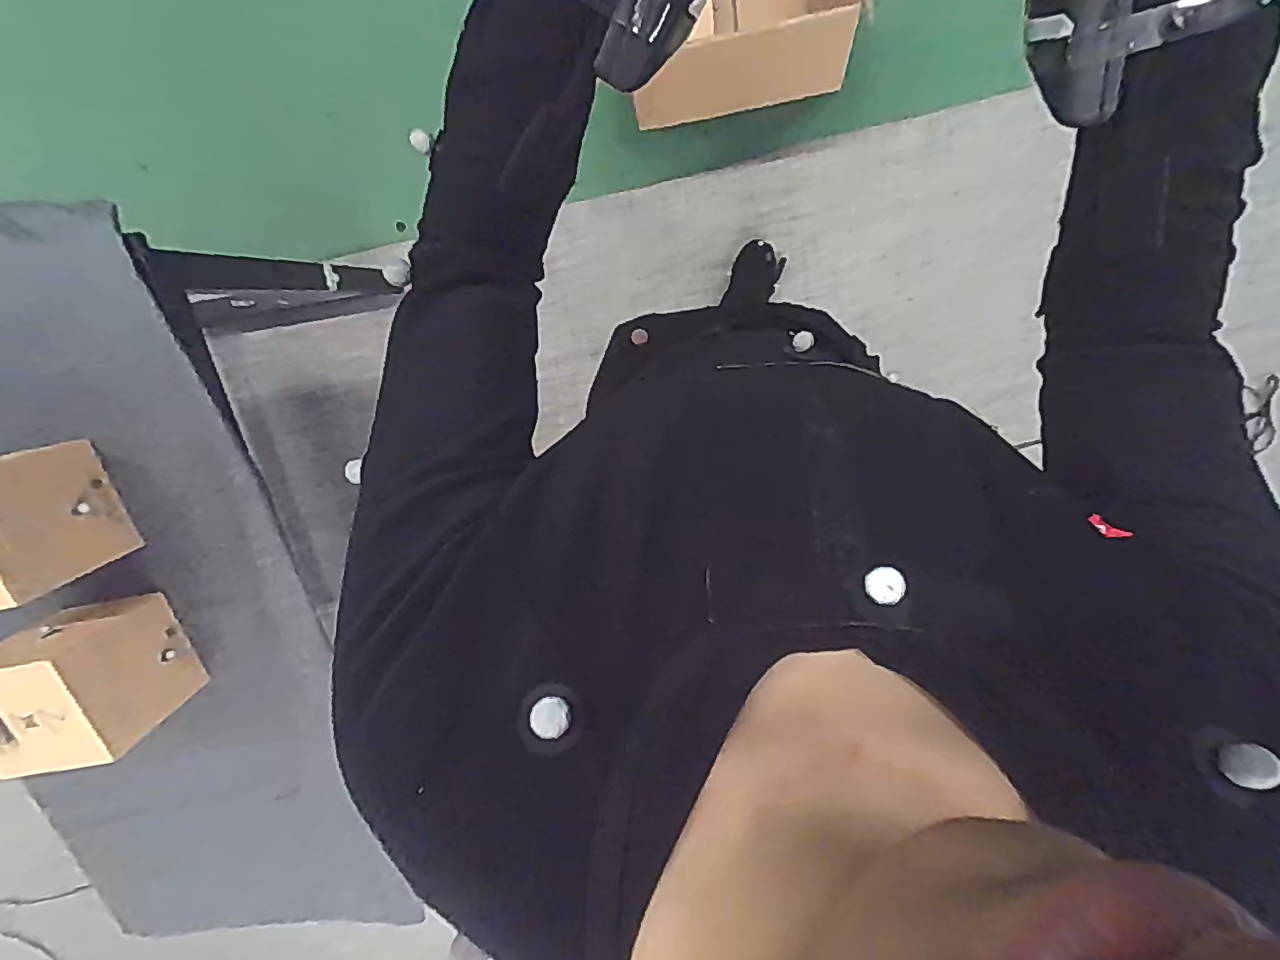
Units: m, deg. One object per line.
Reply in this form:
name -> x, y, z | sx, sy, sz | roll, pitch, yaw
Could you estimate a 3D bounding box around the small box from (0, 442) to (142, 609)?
small box -> -0.821, 0.059, 0.696 | 0.179, 0.176, 0.168 | -10, 108, 5
